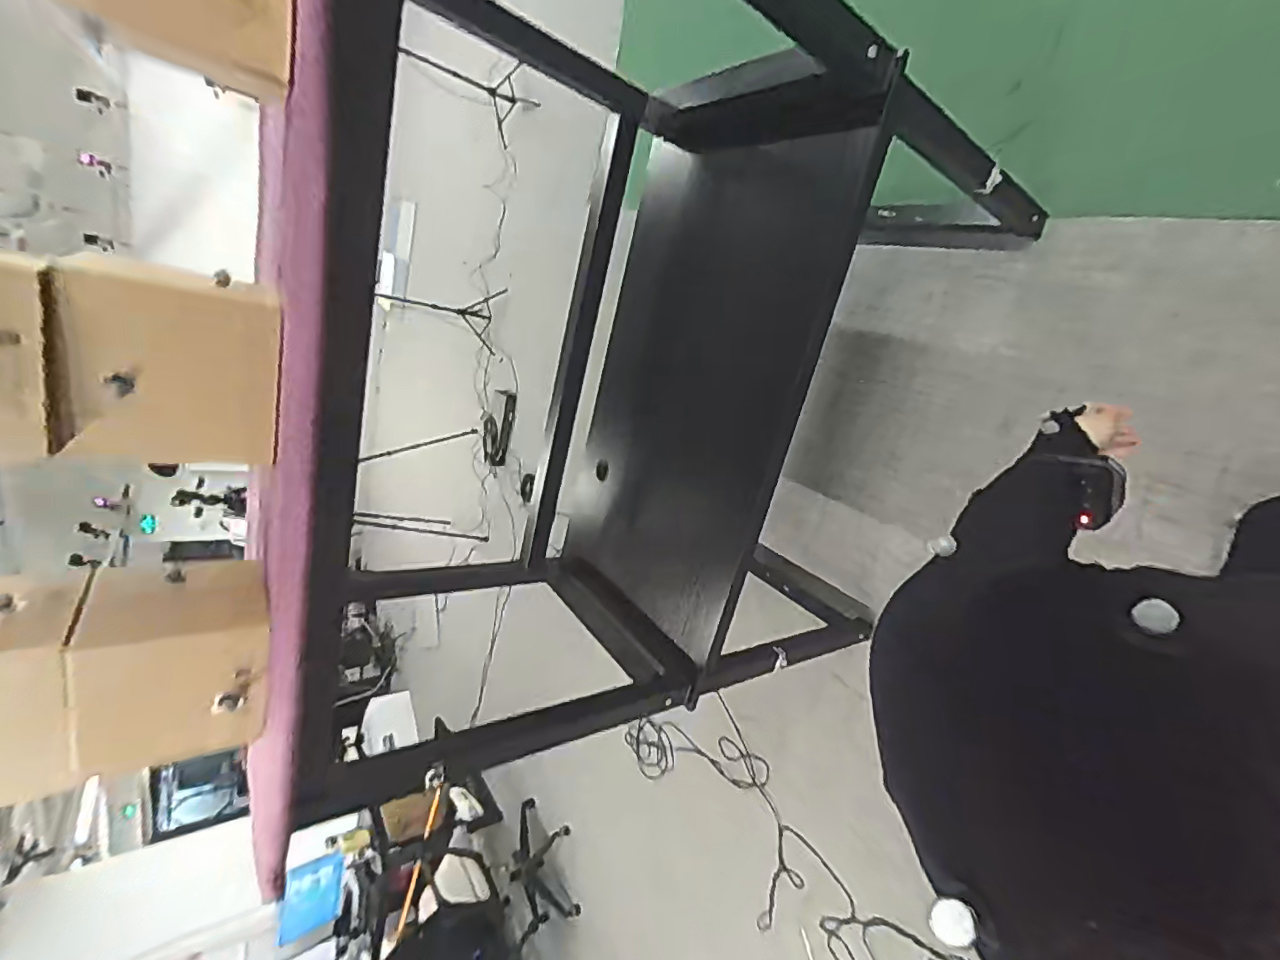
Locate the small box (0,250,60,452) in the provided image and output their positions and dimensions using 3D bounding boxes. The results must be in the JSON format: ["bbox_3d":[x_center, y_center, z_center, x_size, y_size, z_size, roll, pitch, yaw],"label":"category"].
[{"bbox_3d":[-0.614,-0.123,0.476,0.179,0.176,0.168,27,110,50],"label":"small box"}]

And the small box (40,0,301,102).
[{"bbox_3d":[-0.399,-0.461,0.474,0.179,0.176,0.168,38,120,48],"label":"small box"}]

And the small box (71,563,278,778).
[{"bbox_3d":[-0.549,0.209,0.653,0.179,0.176,0.168,27,111,48],"label":"small box"}]

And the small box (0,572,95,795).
[{"bbox_3d":[-0.682,0.212,0.555,0.168,0.176,0.179,26,110,49],"label":"small box"}]

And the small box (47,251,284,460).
[{"bbox_3d":[-0.488,-0.129,0.581,0.168,0.176,0.179,35,115,48],"label":"small box"}]
